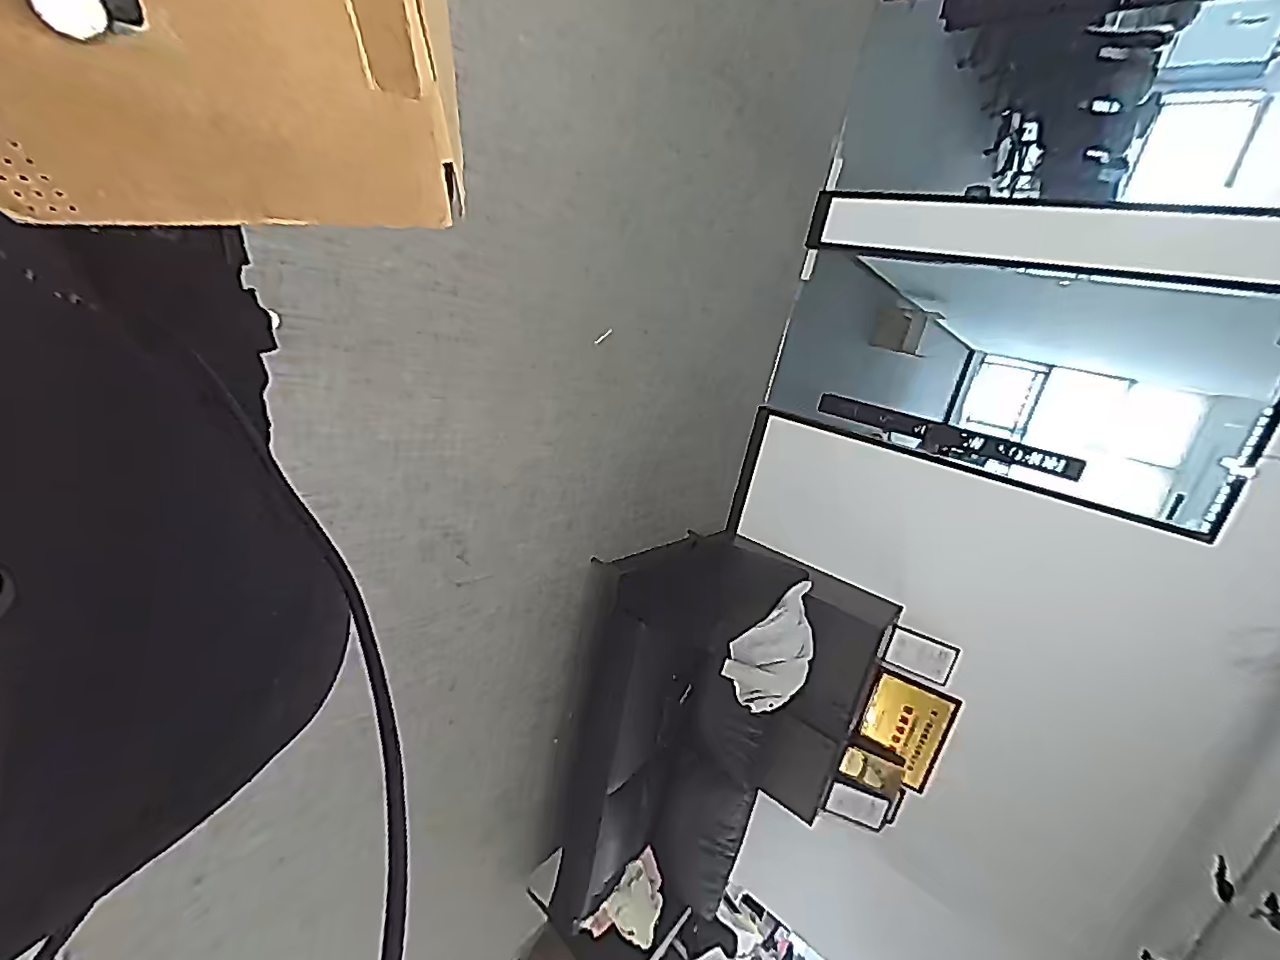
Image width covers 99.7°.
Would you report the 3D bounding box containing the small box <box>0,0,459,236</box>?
[{"bbox_3d":[-0.165,-0.211,0.187,0.176,0.179,0.168,-5,156,-12],"label":"small box"}]
